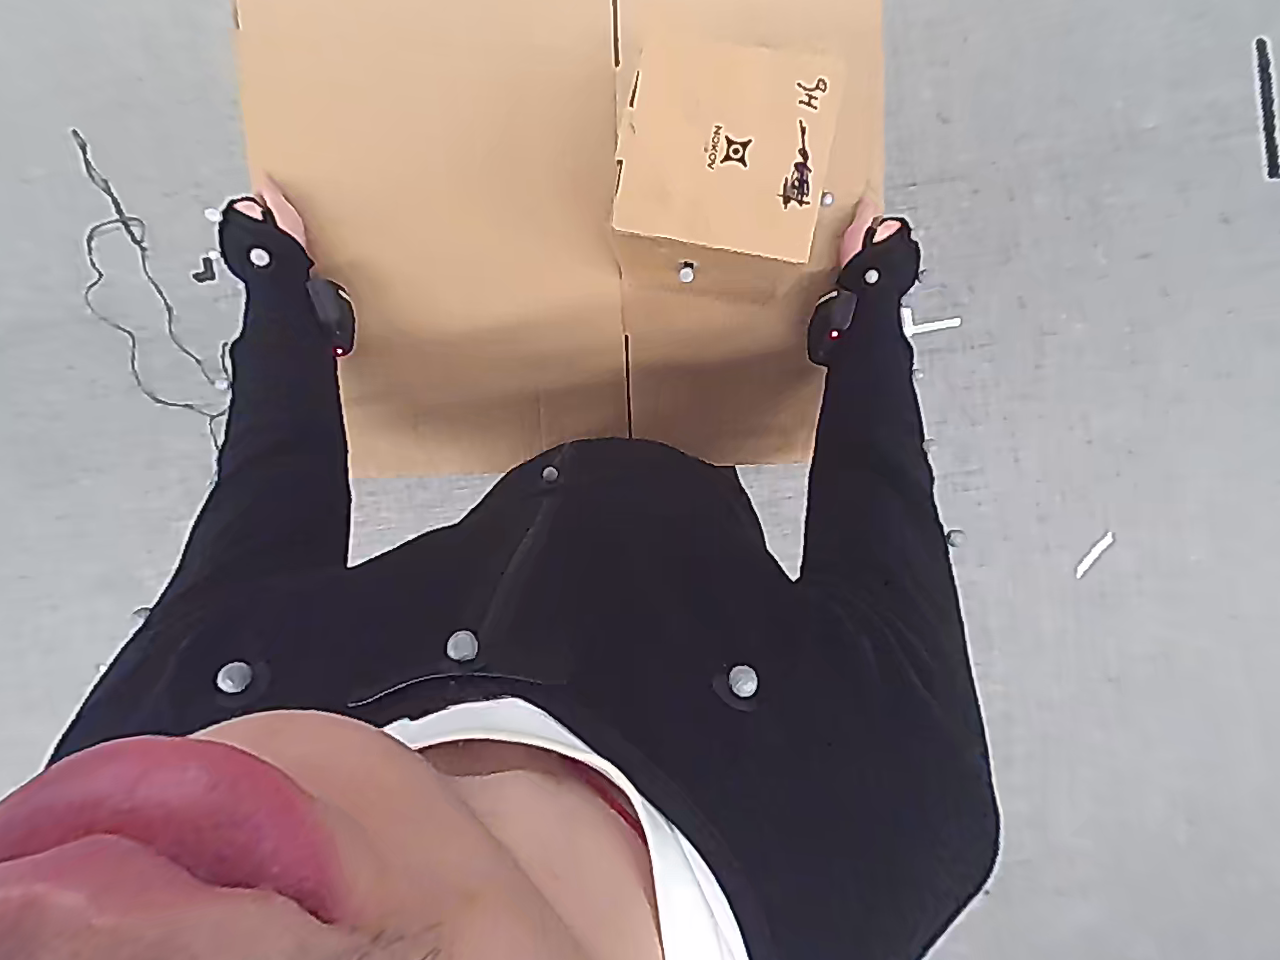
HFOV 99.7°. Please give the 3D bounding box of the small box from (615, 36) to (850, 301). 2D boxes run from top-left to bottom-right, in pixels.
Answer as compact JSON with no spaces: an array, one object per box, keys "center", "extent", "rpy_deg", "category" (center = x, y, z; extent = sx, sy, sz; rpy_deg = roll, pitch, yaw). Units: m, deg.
[{"center":[0.084,-0.293,0.546],"extent":[0.179,0.176,0.168],"rpy_deg":[11,95,3],"category":"small box"}]
